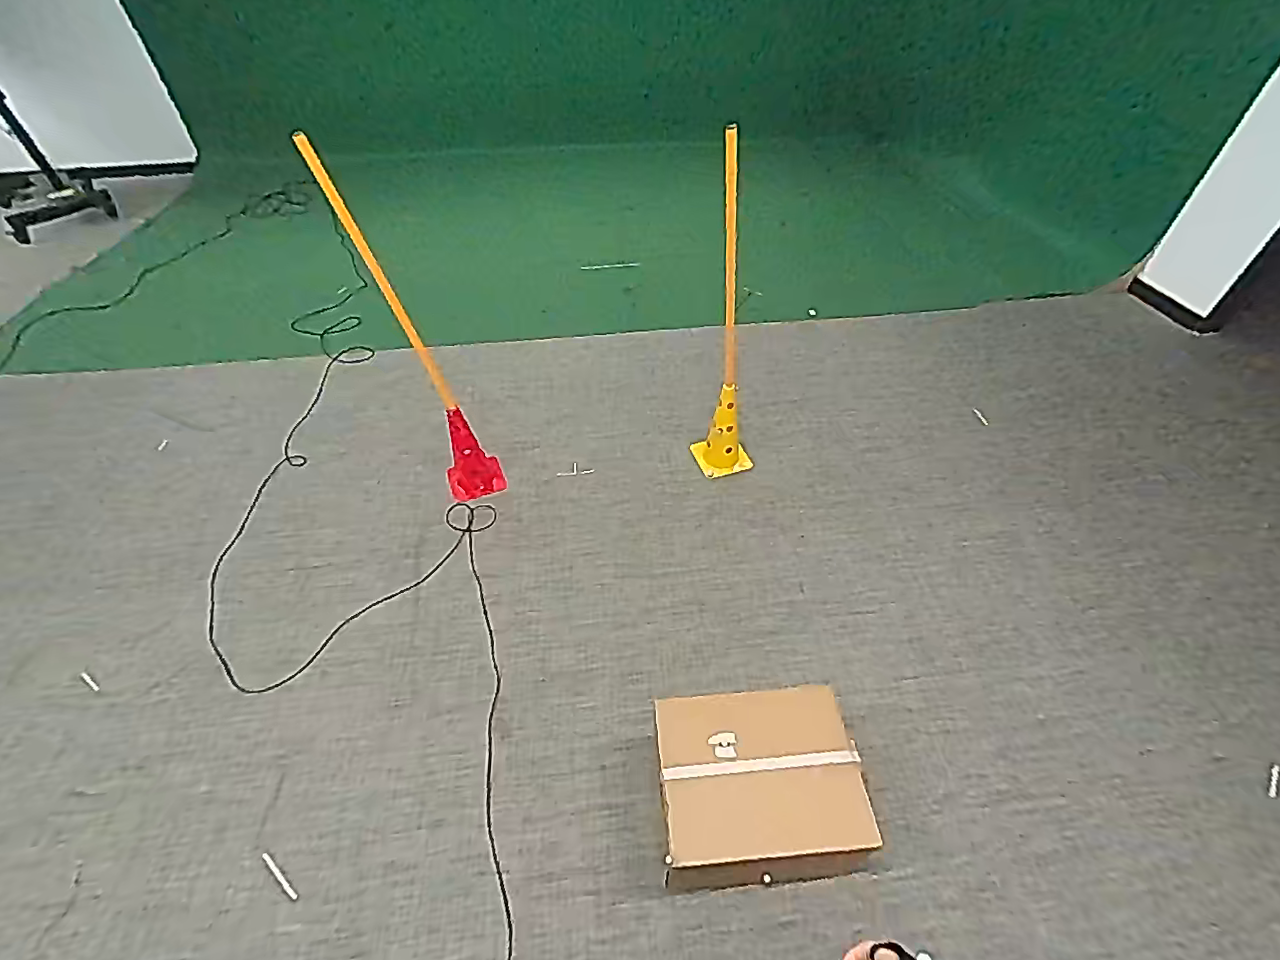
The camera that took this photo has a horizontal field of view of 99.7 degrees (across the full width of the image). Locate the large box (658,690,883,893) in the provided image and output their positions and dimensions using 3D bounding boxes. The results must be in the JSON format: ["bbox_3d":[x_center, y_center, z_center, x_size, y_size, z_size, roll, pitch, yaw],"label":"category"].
[{"bbox_3d":[0.257,0.704,1.219,0.408,0.320,0.320,-5,45,-2],"label":"large box"}]
